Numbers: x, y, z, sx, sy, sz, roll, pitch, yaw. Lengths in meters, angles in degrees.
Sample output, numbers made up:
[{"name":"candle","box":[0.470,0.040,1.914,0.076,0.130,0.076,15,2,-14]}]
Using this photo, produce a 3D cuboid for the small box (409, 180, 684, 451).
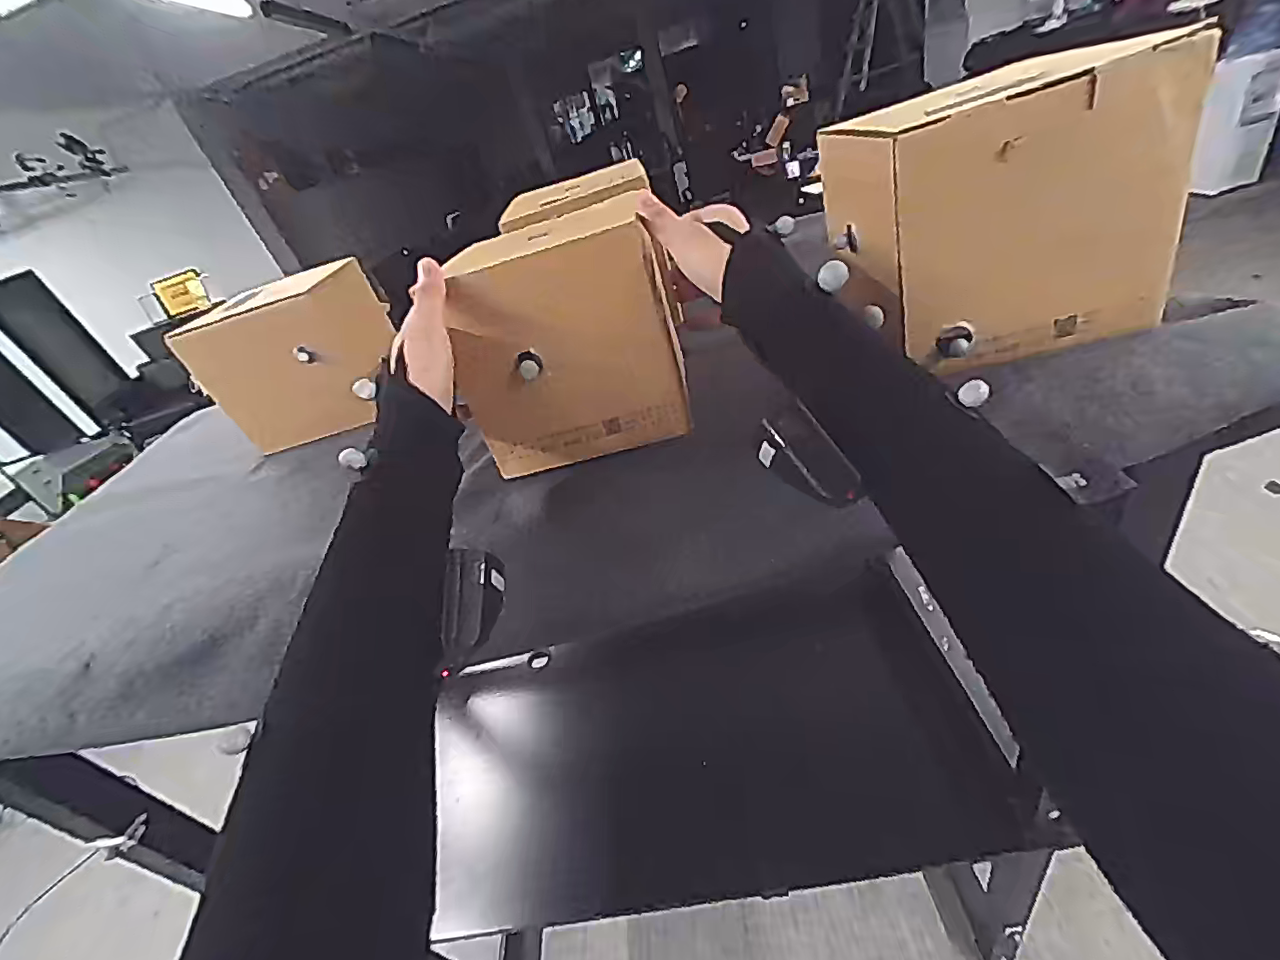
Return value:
[{"name":"small box","box":[-0.061,-0.139,0.475,0.168,0.176,0.179,-13,31,9]}]

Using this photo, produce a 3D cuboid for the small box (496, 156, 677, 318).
[{"name":"small box","box":[-0.057,-0.285,0.678,0.168,0.176,0.179,-15,33,7]}]

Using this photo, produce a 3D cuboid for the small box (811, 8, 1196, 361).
[{"name":"small box","box":[0.242,-0.204,0.407,0.168,0.176,0.179,-14,31,10]}]
